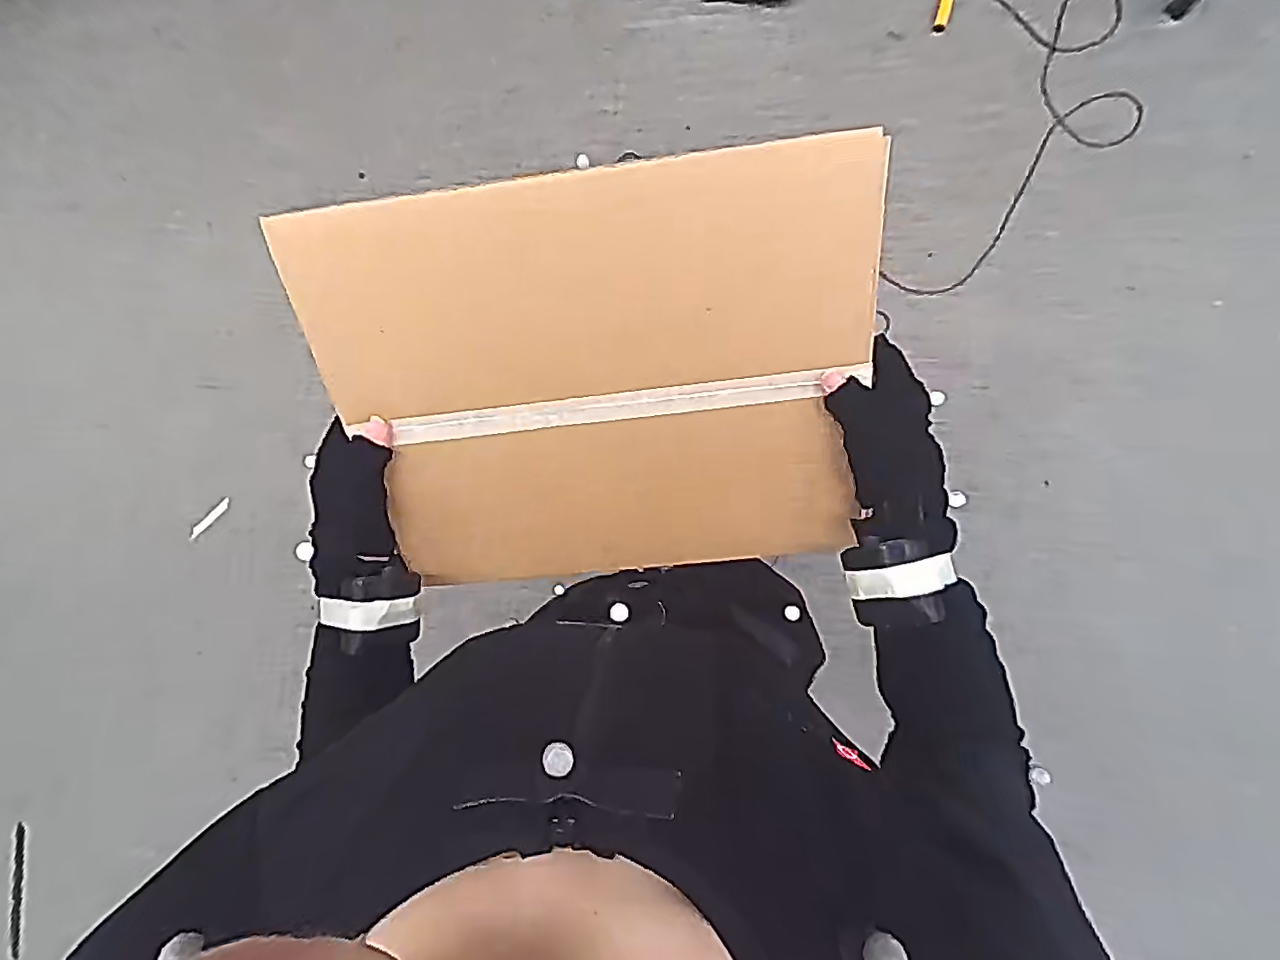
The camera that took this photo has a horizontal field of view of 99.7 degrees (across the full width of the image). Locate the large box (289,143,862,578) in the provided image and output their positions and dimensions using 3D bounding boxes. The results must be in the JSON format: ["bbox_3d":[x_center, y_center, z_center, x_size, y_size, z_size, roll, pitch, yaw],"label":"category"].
[{"bbox_3d":[-0.027,-0.132,0.561,0.408,0.320,0.320,-6,118,5],"label":"large box"}]
